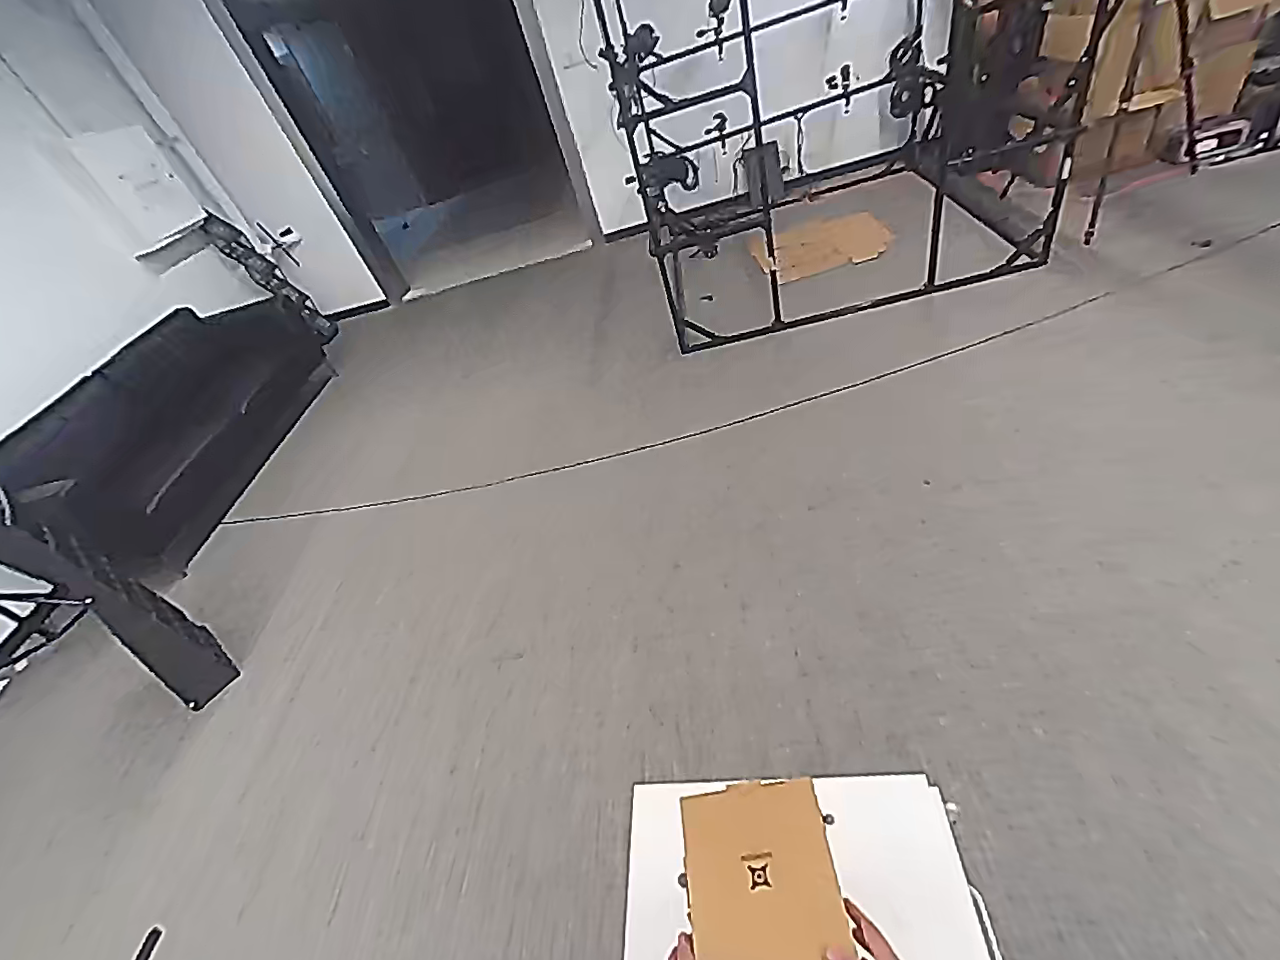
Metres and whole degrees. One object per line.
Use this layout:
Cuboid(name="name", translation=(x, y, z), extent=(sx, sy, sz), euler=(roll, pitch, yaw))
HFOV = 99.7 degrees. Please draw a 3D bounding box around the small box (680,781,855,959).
Cuboid(name="small box", translation=(0.152, 0.496, 0.651), extent=(0.168, 0.176, 0.179), euler=(-13, 40, 8))
